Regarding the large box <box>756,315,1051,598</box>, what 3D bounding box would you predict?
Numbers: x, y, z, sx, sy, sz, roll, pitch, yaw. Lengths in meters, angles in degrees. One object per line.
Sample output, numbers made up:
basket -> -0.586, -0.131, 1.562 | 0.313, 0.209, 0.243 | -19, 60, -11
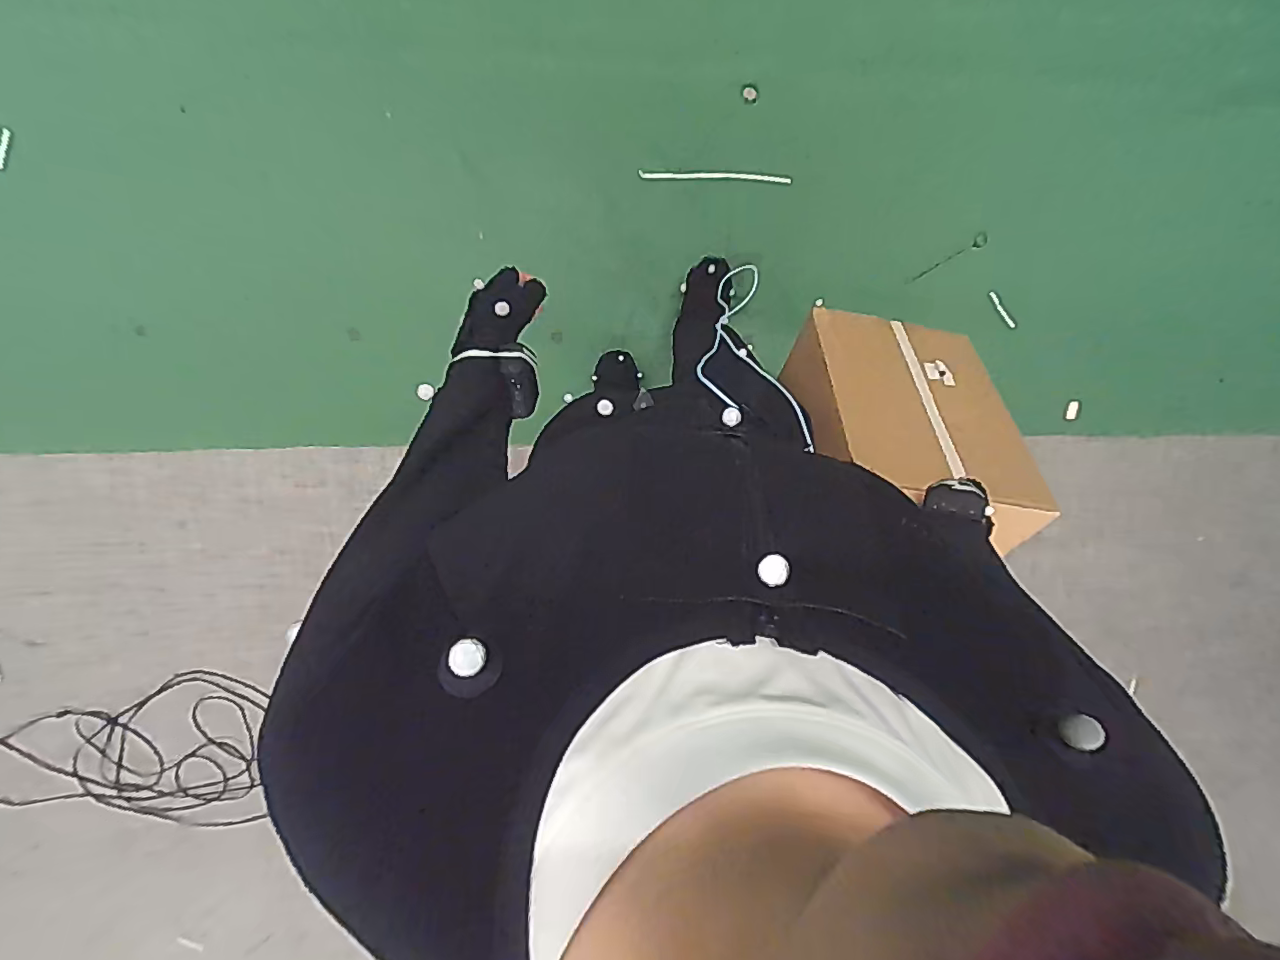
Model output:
large box -> 0.426, -0.037, 0.997 | 0.320, 0.408, 0.320 | 9, 141, -7
